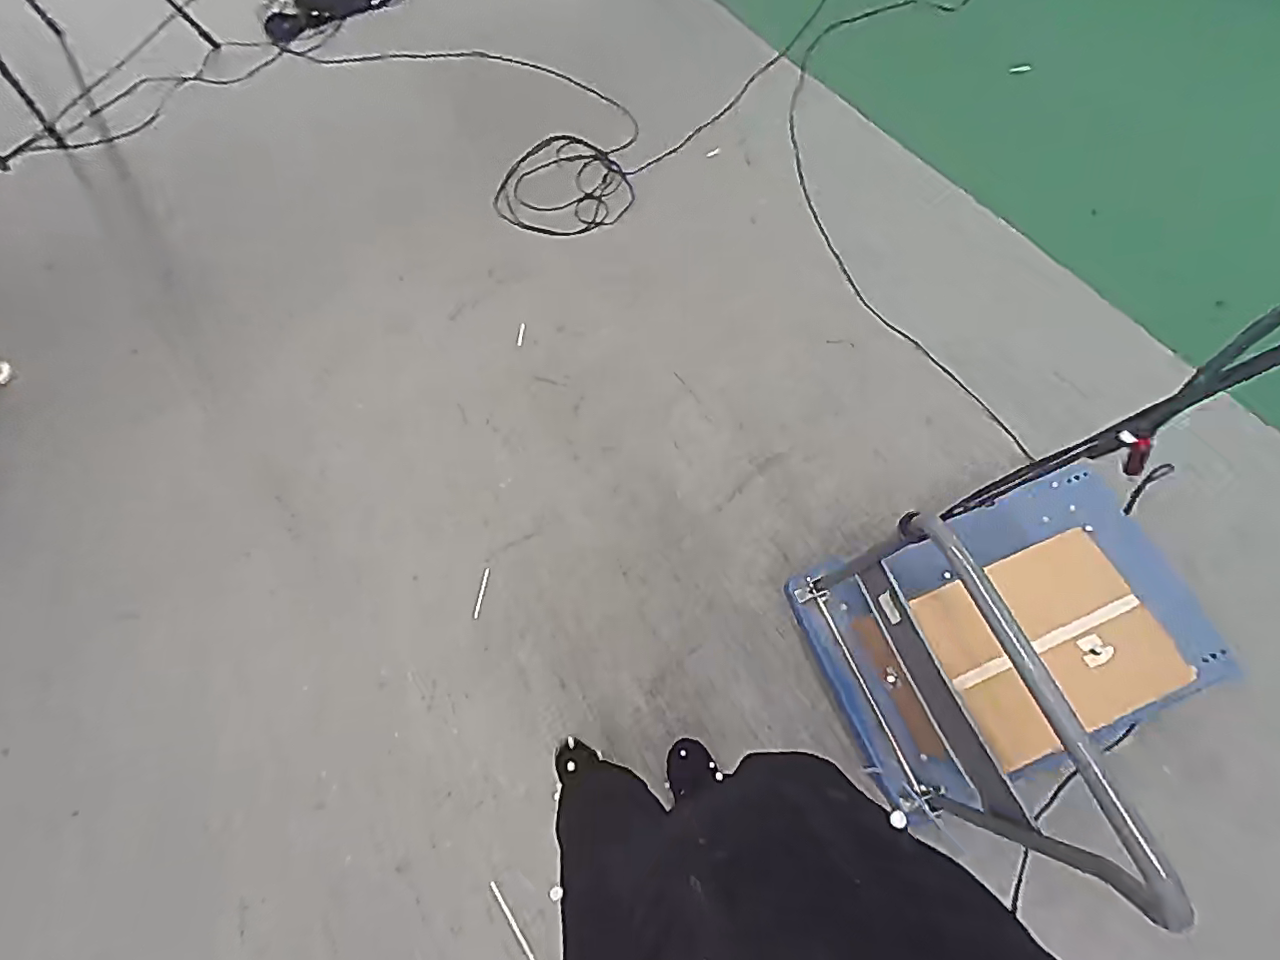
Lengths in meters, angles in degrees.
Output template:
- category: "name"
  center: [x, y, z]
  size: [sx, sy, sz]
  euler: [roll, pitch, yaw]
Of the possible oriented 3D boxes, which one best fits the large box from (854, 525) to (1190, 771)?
- category: "large box"
  center: [0.738, 0.346, 1.122]
  size: [0.408, 0.320, 0.320]
  euler: [-22, 70, -6]
